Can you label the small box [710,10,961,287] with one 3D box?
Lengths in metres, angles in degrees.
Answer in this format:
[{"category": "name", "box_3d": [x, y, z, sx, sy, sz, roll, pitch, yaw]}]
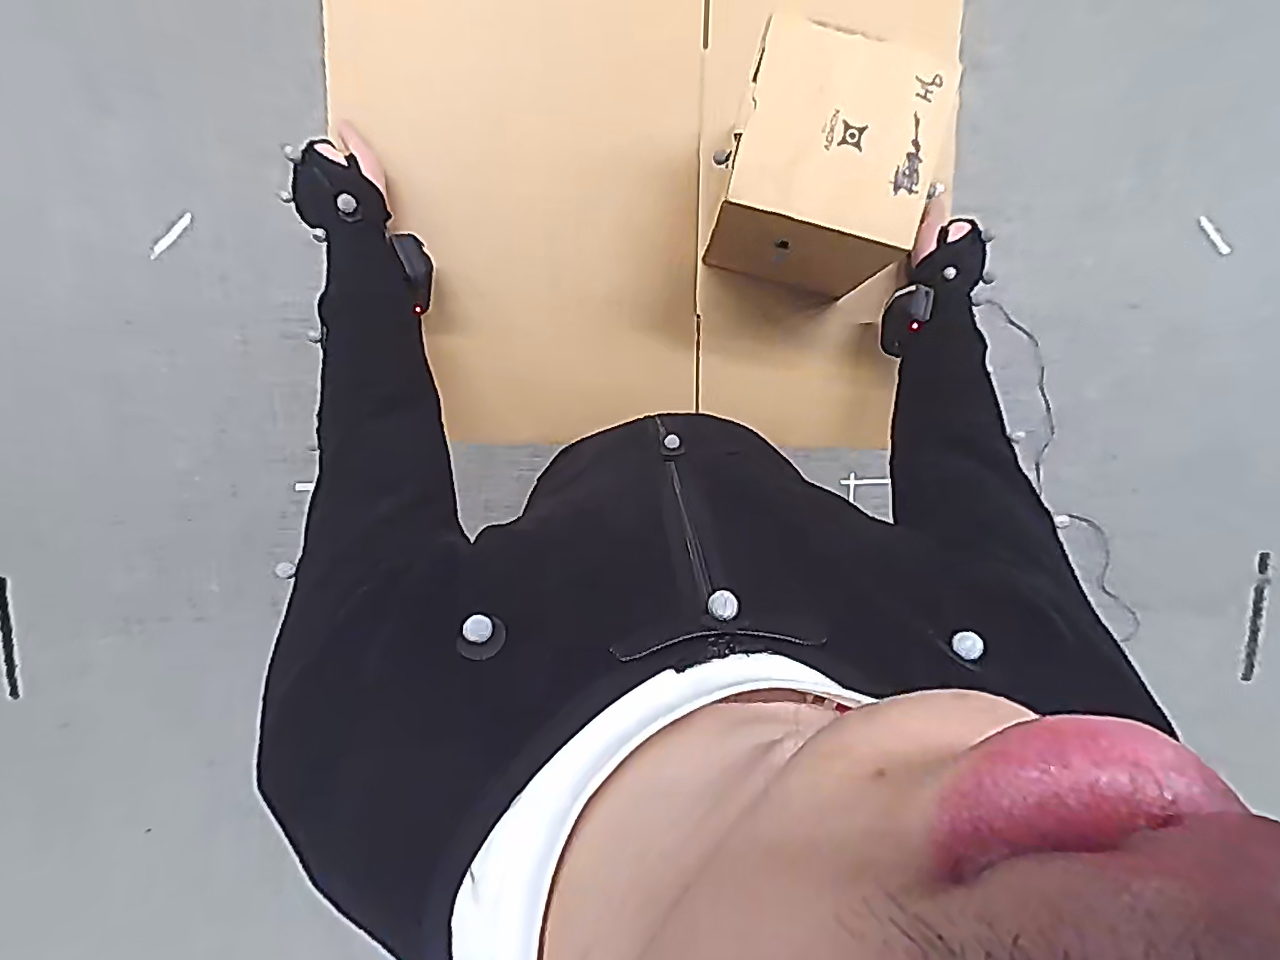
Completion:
[{"category": "small box", "box_3d": [0.179, -0.317, 0.558, 0.179, 0.176, 0.168, 15, 94, 0]}]
